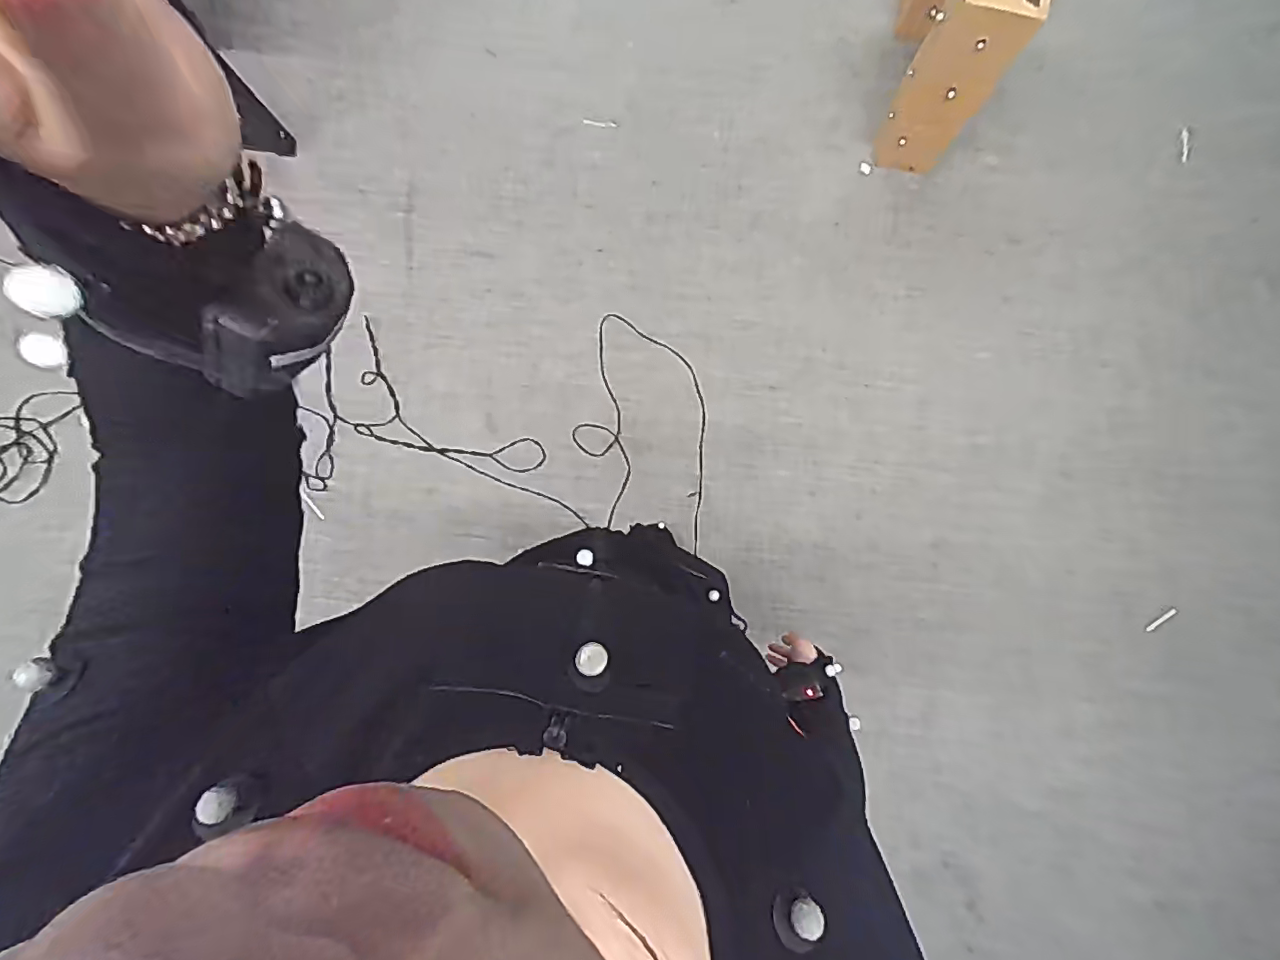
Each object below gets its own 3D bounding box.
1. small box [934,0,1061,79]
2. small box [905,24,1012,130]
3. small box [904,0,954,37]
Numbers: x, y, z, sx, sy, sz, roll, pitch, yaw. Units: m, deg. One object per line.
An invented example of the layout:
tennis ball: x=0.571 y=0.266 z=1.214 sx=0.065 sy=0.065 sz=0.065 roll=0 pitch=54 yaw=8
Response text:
small box: x=0.796 y=-1.041 z=1.198 sx=0.179 sy=0.176 sz=0.168 roll=16 pitch=85 yaw=3
small box: x=0.806 y=-1.025 z=1.362 sx=0.179 sy=0.176 sz=0.168 roll=14 pitch=85 yaw=2
small box: x=0.890 y=-1.423 z=1.559 sx=0.179 sy=0.176 sz=0.168 roll=10 pitch=85 yaw=2
